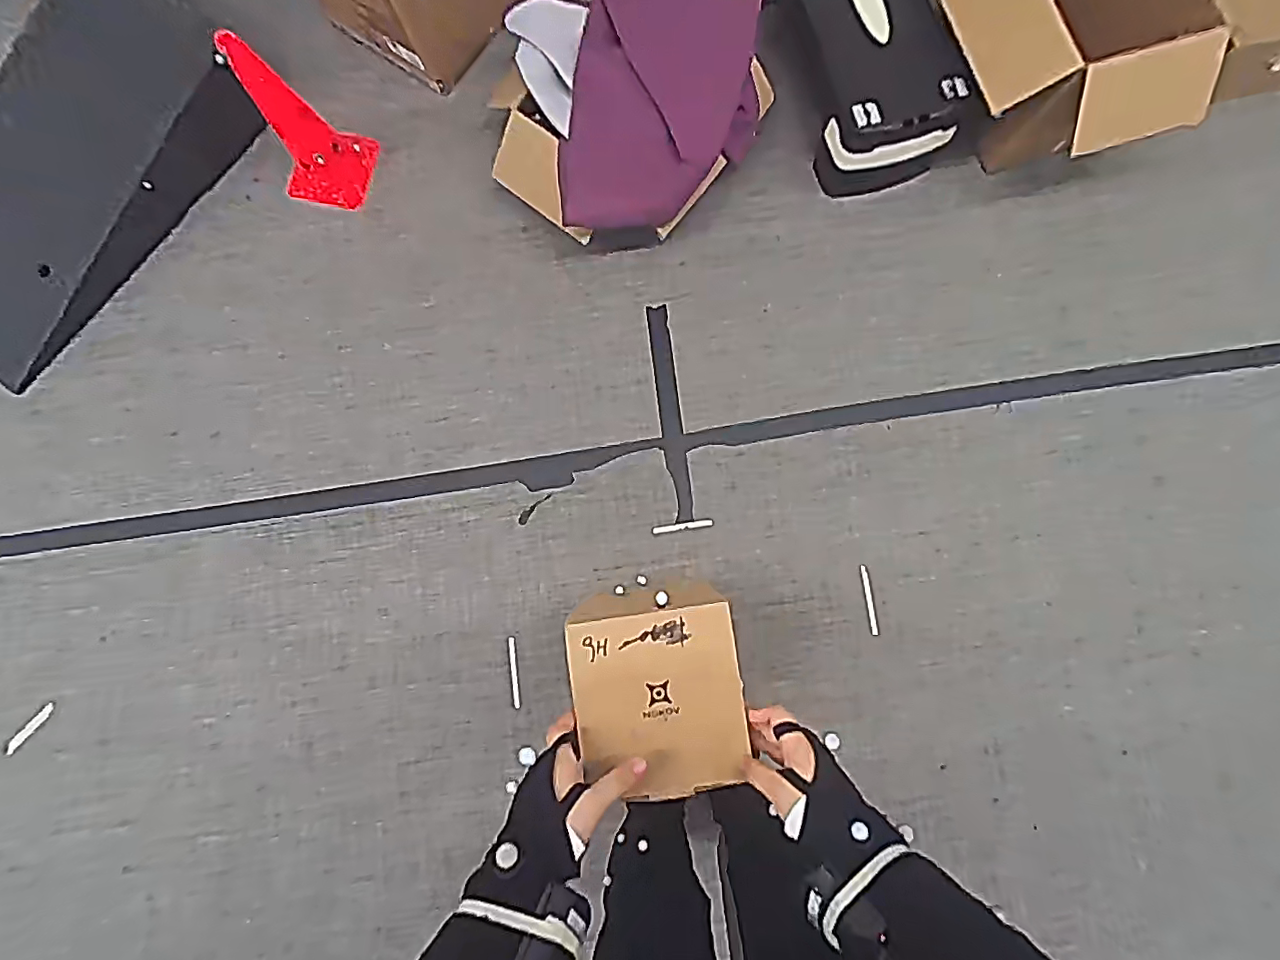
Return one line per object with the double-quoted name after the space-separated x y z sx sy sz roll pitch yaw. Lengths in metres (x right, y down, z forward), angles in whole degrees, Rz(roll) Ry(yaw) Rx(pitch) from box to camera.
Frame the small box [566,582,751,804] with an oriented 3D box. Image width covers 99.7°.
0.018 0.219 0.601 0.168 0.176 0.179 -7 87 -1 "small box"
